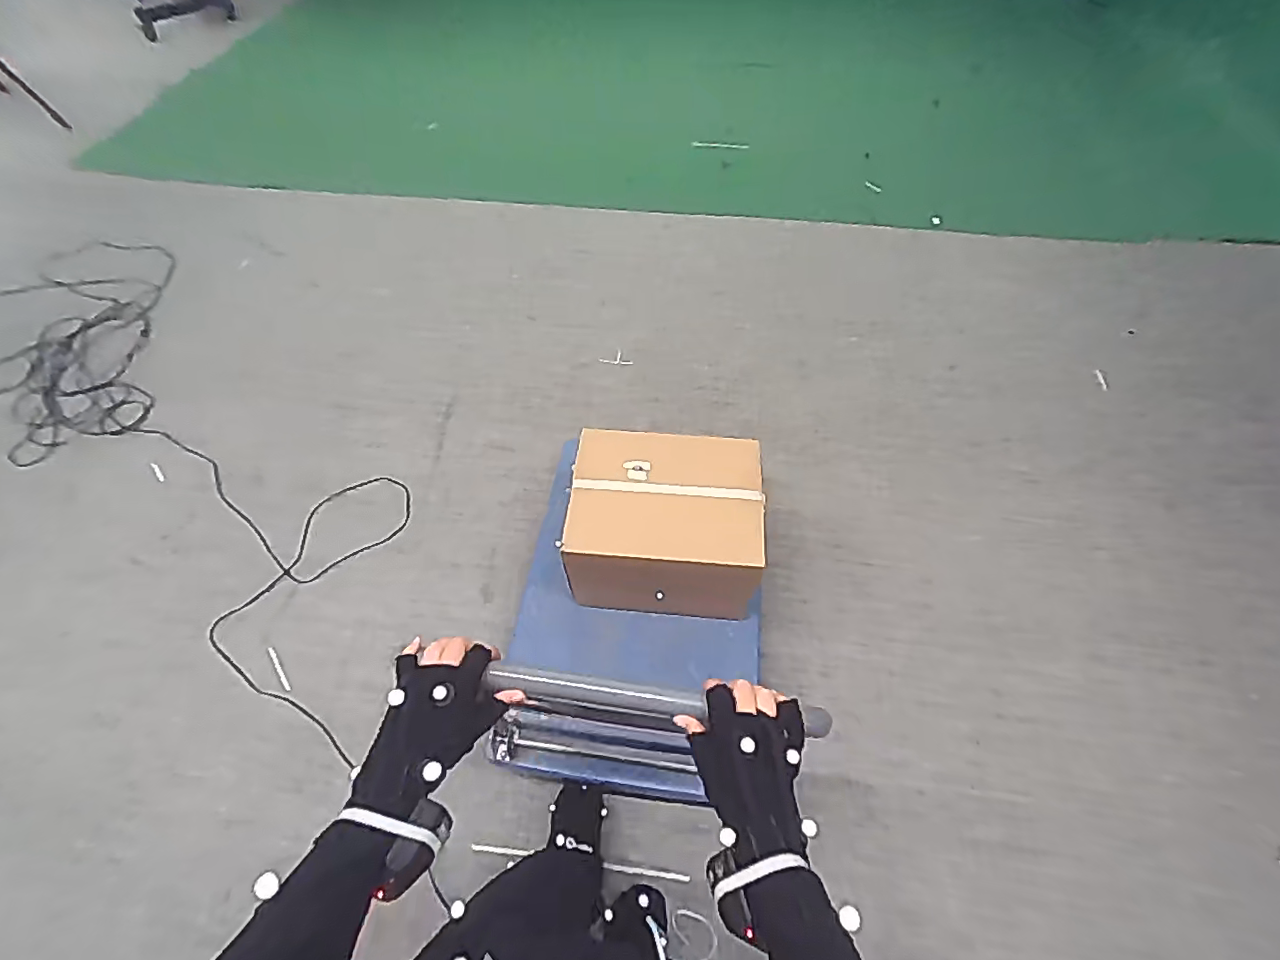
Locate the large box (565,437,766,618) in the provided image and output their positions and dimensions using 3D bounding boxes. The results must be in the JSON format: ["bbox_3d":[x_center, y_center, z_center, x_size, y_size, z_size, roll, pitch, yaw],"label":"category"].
[{"bbox_3d":[0.063,0.119,1.270,0.408,0.320,0.320,4,56,3],"label":"large box"}]
